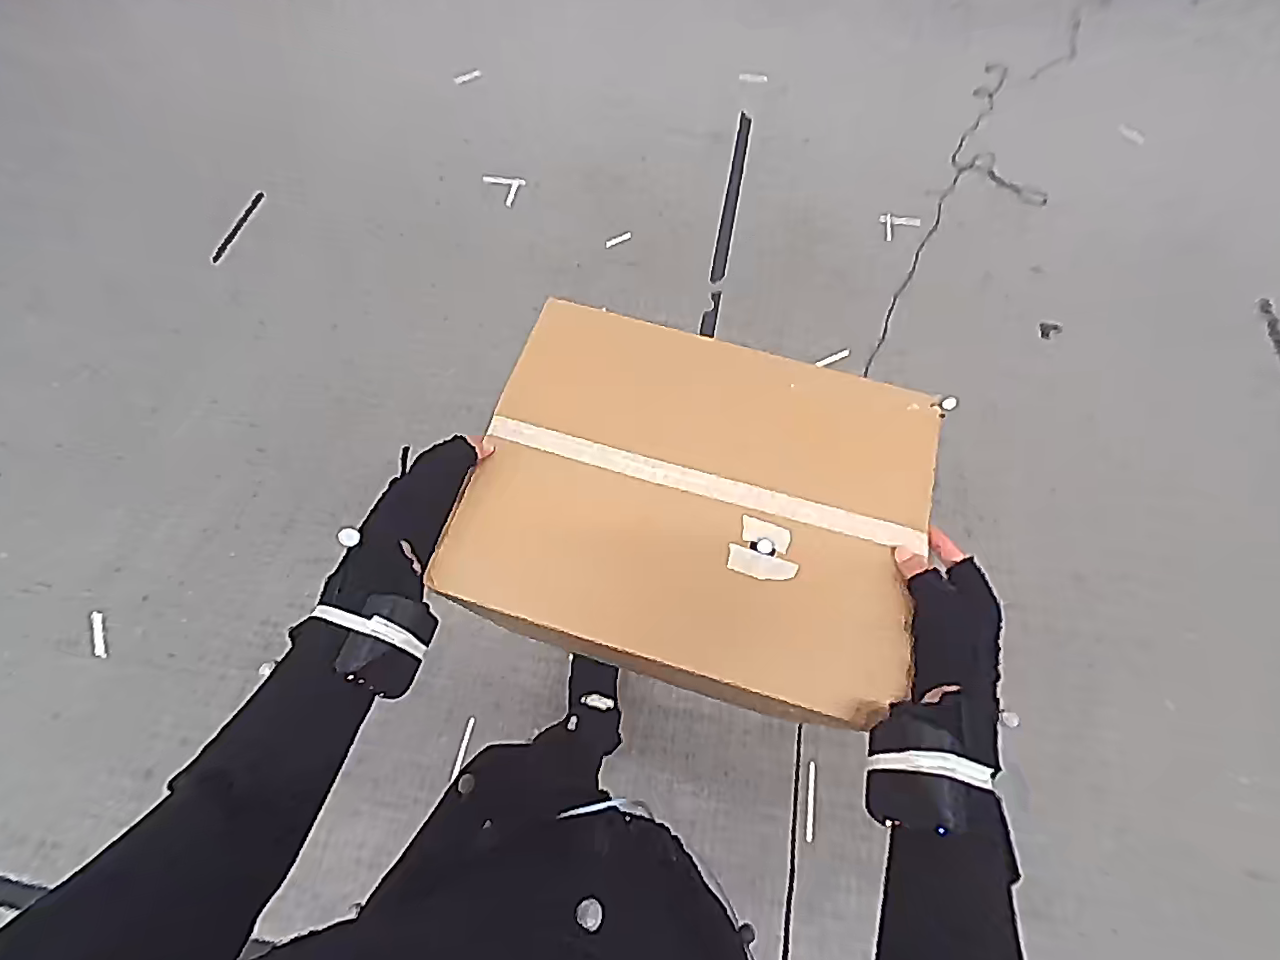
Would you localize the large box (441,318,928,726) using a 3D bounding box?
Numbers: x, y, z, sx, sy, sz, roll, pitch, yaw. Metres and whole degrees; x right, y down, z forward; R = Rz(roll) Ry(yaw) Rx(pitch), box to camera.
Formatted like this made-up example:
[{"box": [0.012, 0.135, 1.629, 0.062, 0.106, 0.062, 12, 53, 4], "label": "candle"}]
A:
[{"box": [0.052, 0.067, 0.638, 0.408, 0.320, 0.320, 16, 70, 4], "label": "large box"}]
